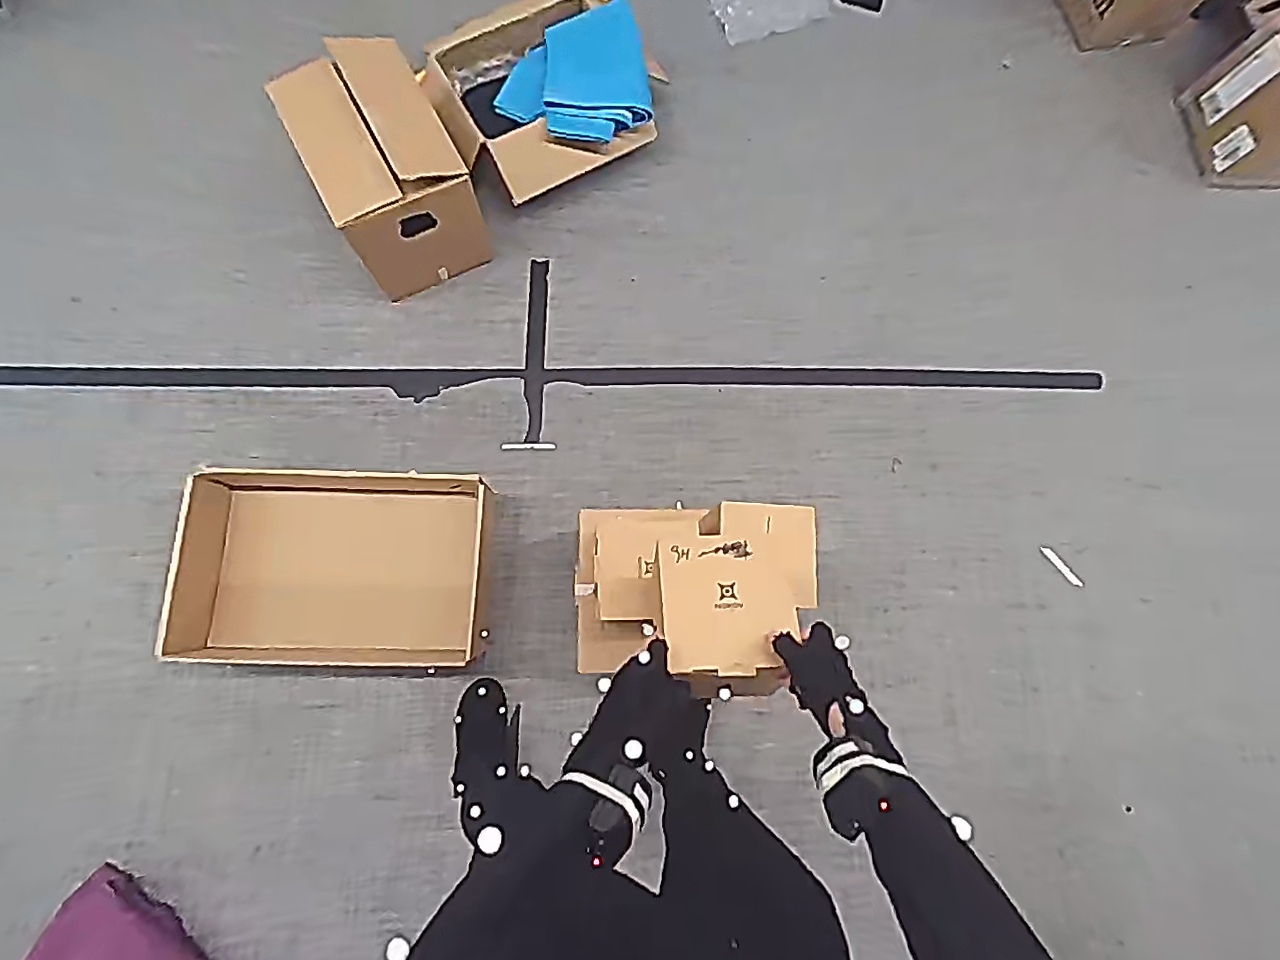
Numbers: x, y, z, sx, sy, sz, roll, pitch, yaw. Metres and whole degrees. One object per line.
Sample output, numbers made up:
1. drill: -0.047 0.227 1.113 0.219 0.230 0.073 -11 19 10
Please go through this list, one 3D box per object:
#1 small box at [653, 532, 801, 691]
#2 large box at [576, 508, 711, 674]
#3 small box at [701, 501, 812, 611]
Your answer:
1. small box: 0.105 0.186 0.740 0.168 0.176 0.179 -1 58 -3
2. large box: 0.064 0.241 1.202 0.408 0.320 0.320 0 79 -5
3. small box: 0.203 0.144 0.984 0.168 0.176 0.179 4 76 -3
